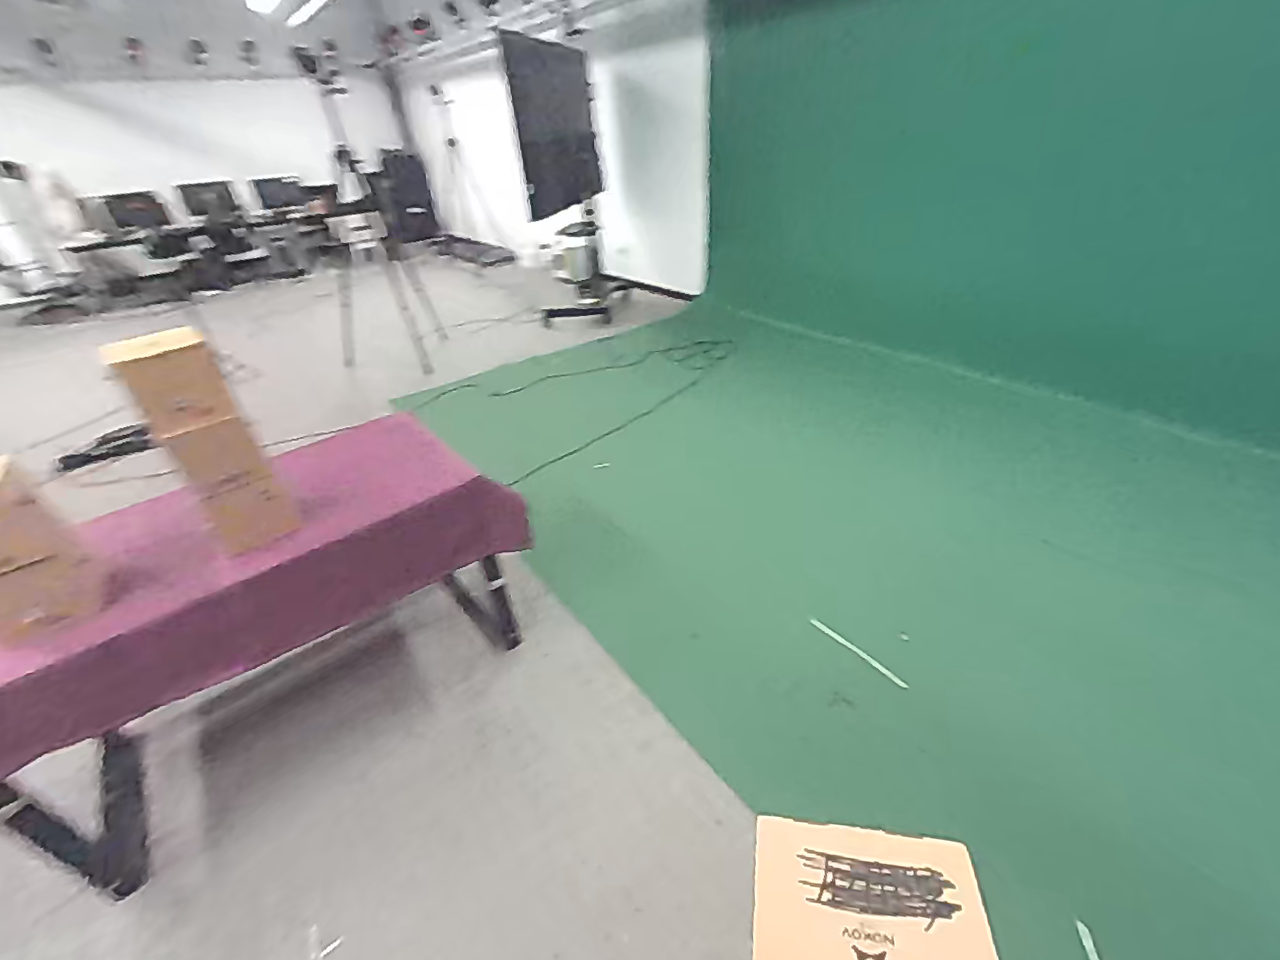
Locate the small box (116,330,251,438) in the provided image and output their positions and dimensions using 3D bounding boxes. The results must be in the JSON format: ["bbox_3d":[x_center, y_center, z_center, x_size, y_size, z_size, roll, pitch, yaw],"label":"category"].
[{"bbox_3d":[-1.002,-0.213,1.194,0.168,0.176,0.179,-31,42,-33],"label":"small box"}]

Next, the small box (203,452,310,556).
[{"bbox_3d":[-0.968,0.059,1.370,0.179,0.176,0.168,-28,39,-30],"label":"small box"}]

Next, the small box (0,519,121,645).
[{"bbox_3d":[-1.275,0.219,1.171,0.168,0.176,0.179,-27,40,-29],"label":"small box"}]

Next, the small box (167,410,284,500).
[{"bbox_3d":[-0.983,-0.077,1.281,0.168,0.176,0.179,-30,41,-31],"label":"small box"}]

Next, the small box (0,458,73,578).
[{"bbox_3d":[-1.285,0.087,1.073,0.168,0.176,0.179,-26,40,-30],"label":"small box"}]
